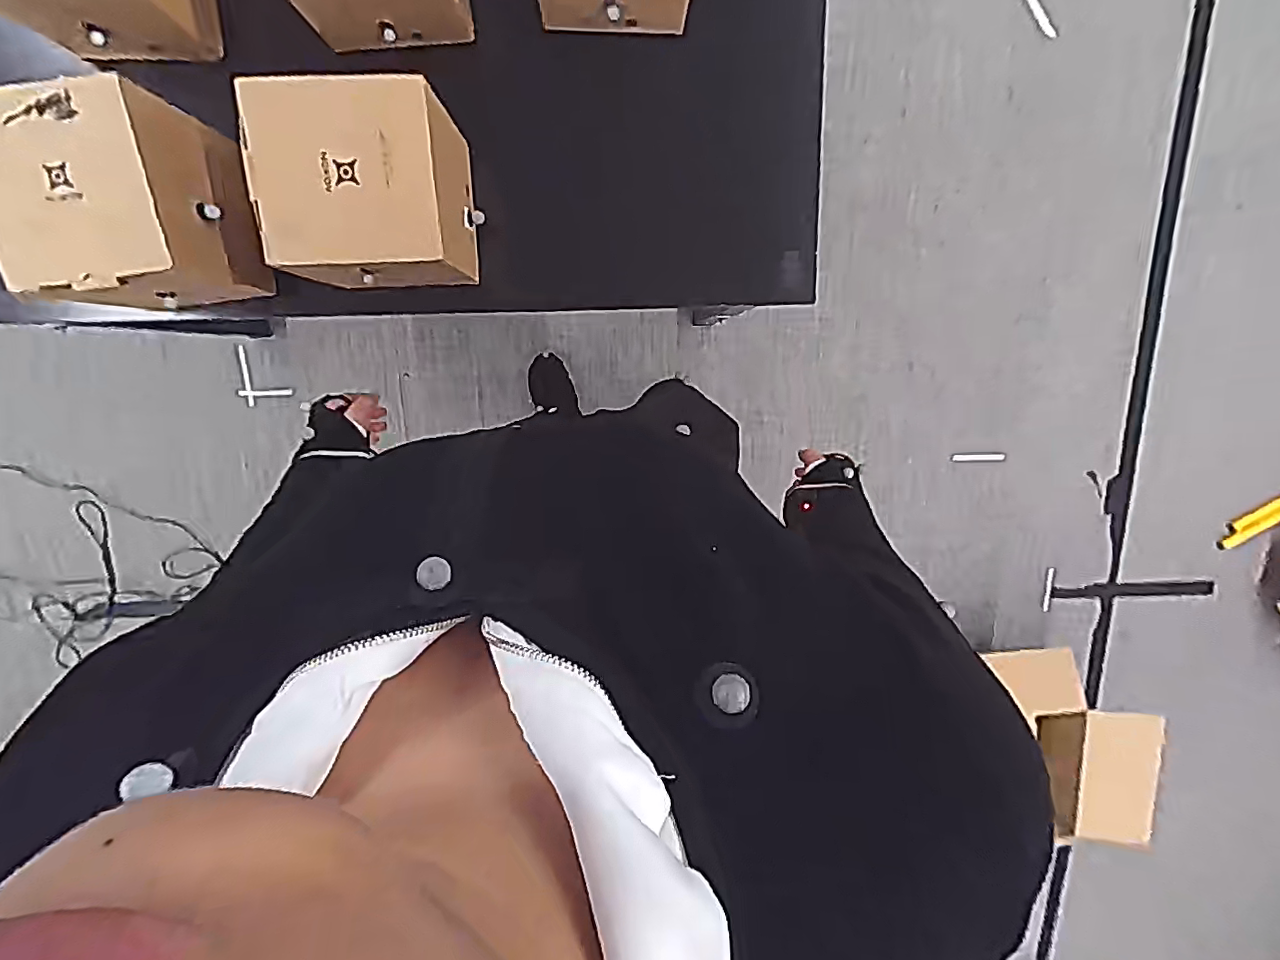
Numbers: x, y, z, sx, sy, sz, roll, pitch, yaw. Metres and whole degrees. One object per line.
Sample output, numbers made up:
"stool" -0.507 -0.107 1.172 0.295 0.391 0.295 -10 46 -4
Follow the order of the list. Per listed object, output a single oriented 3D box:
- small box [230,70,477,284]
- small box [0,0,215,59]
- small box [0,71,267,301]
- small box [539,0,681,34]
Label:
"small box" -0.293 -0.315 0.595 0.179 0.176 0.168 -3 103 -3
"small box" -0.567 -0.559 0.528 0.168 0.176 0.179 -1 103 -3
"small box" -0.550 -0.295 0.585 0.168 0.176 0.179 -8 103 -1
"small box" -0.033 -0.603 0.545 0.168 0.176 0.179 0 102 -2
